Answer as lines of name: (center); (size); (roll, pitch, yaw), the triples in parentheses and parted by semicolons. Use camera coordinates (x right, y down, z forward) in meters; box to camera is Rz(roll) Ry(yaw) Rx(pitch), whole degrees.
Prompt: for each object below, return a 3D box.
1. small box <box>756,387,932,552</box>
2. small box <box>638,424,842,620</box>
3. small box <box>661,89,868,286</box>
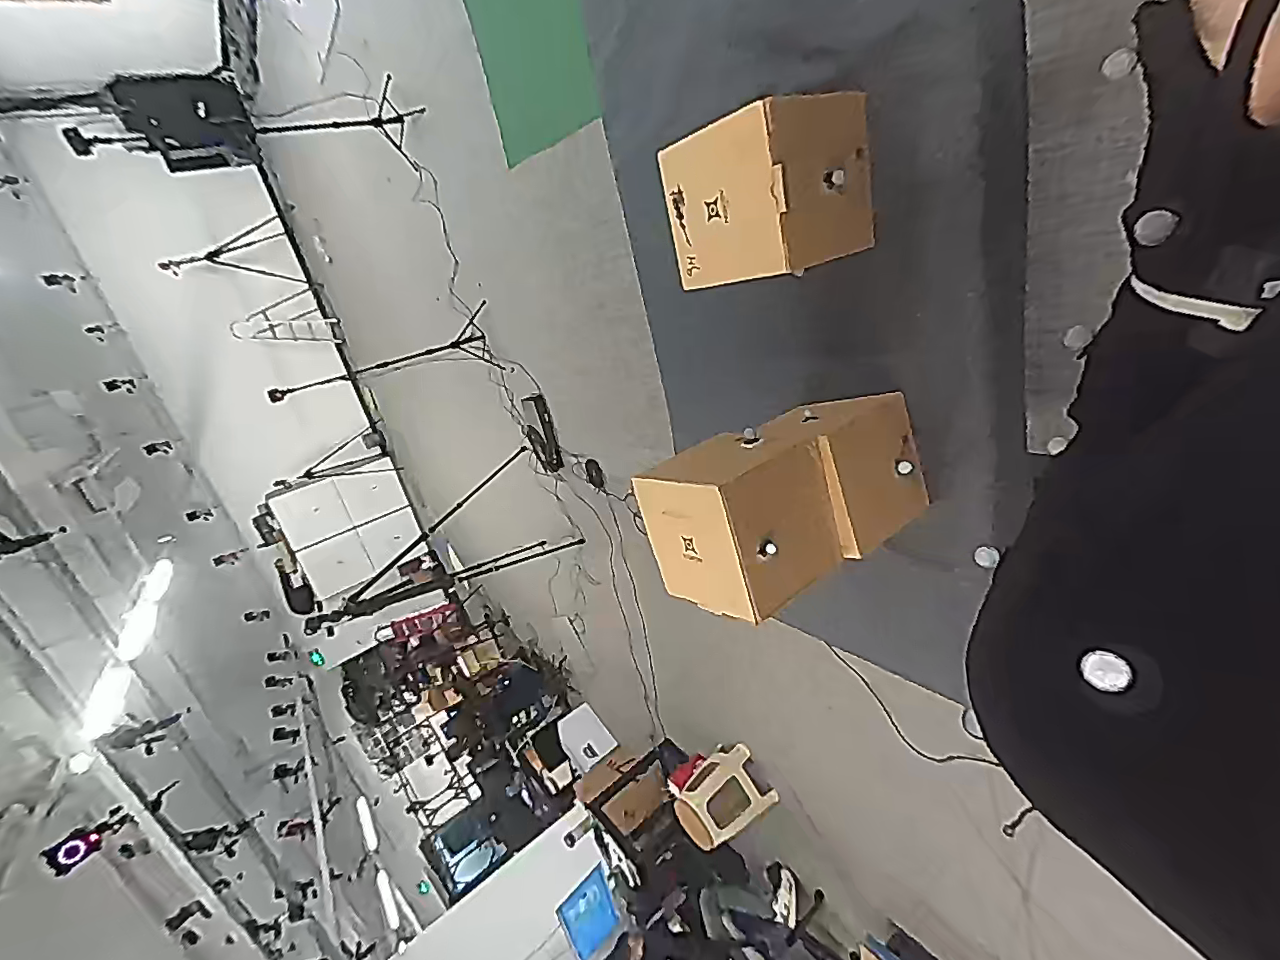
small box: (0.265, -0.018, 0.751); (0.179, 0.176, 0.168); (-1, 112, 57)
small box: (0.130, 0.041, 0.682); (0.168, 0.176, 0.179); (5, 117, 55)
small box: (0.157, -0.348, 0.656); (0.179, 0.176, 0.168); (15, 126, 52)
